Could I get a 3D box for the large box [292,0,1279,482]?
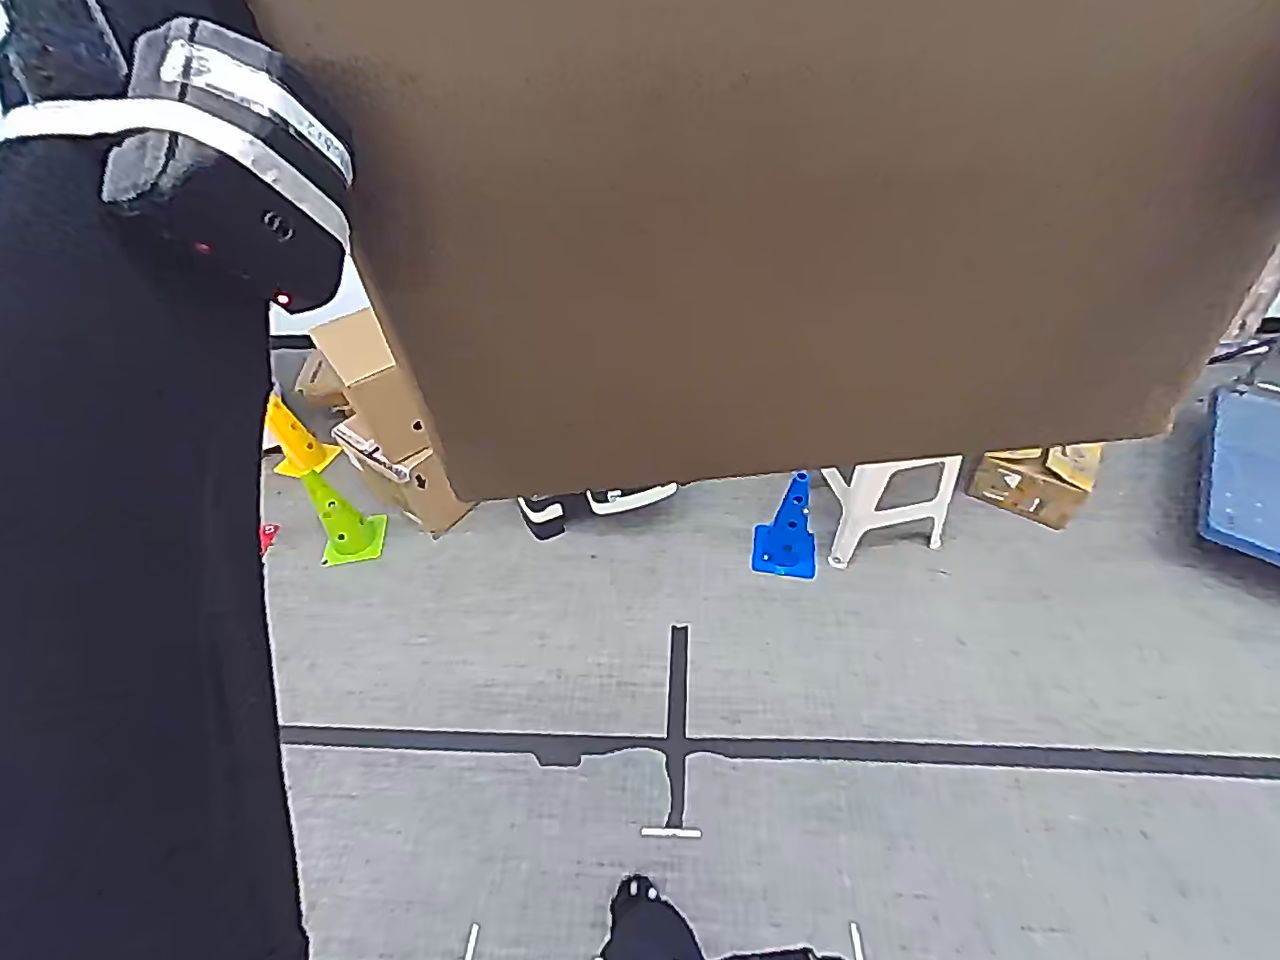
[{"bbox_3d":[0.068,-0.223,0.348,0.408,0.320,0.320,-5,39,1],"label":"large box"}]
